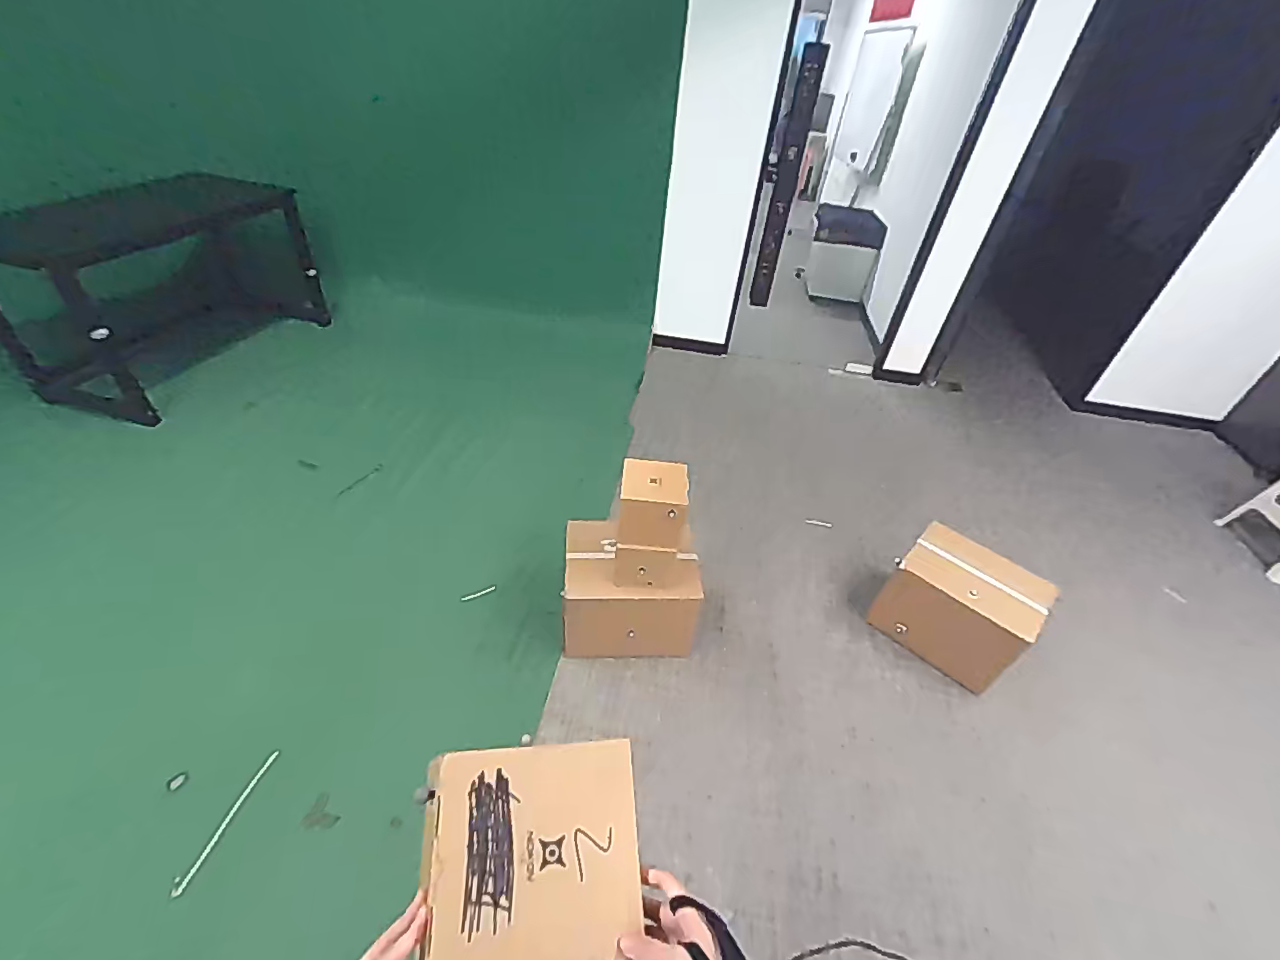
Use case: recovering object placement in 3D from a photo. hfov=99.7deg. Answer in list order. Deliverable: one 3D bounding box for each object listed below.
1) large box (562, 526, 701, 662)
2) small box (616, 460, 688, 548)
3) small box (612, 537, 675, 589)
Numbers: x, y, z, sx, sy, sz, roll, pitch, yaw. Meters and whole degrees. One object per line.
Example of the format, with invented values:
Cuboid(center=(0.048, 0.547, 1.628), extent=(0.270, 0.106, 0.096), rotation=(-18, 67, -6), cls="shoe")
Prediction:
Cuboid(center=(-0.042, 0.363, 1.734), extent=(0.408, 0.320, 0.320), rotation=(1, 39, -6), cls="large box")
Cuboid(center=(0.030, 0.067, 1.459), extent=(0.179, 0.176, 0.168), rotation=(6, 40, -2), cls="small box")
Cuboid(center=(0.009, 0.195, 1.557), extent=(0.168, 0.176, 0.179), rotation=(6, 40, -3), cls="small box")
